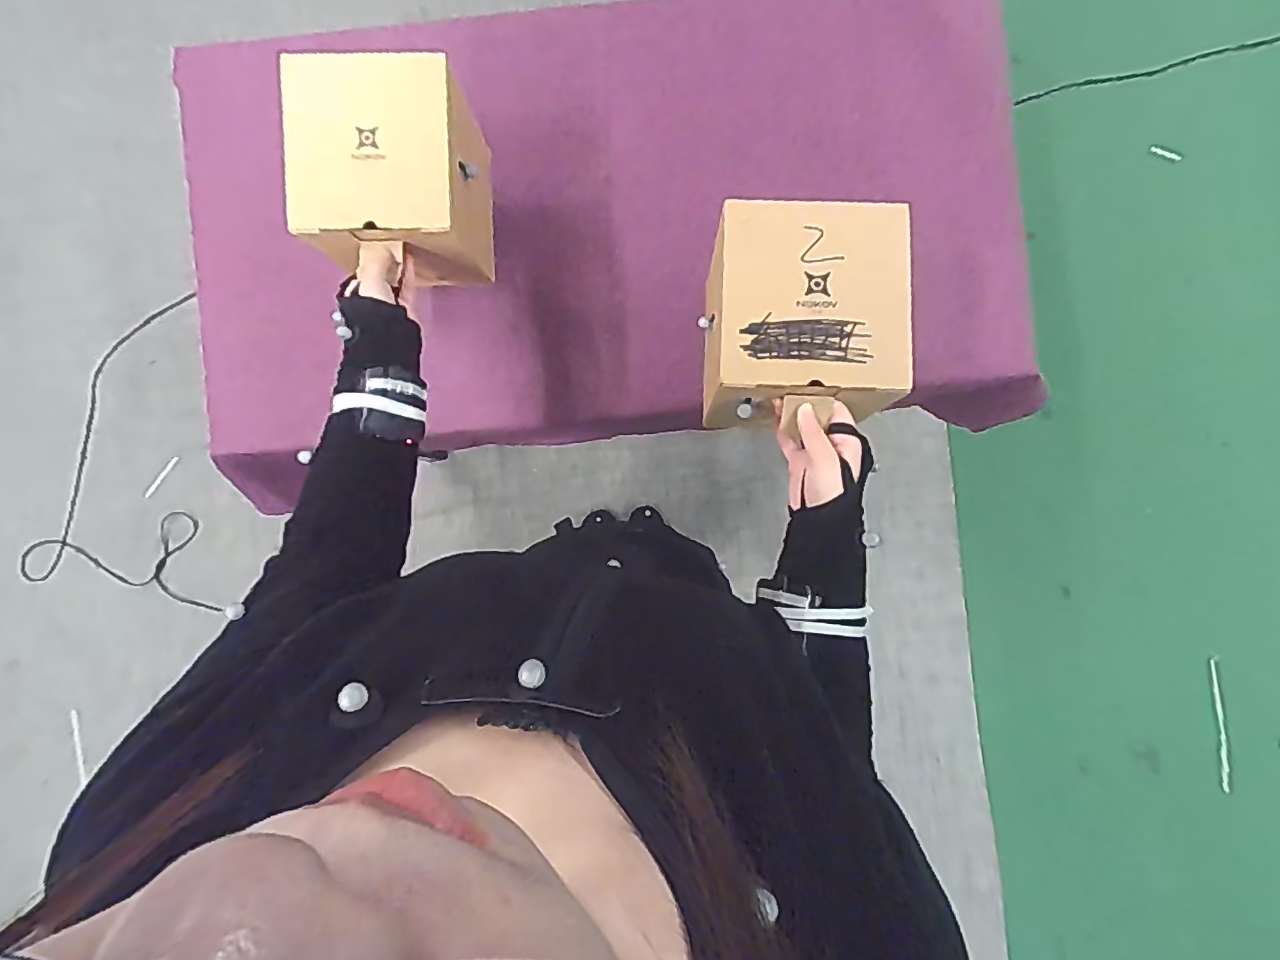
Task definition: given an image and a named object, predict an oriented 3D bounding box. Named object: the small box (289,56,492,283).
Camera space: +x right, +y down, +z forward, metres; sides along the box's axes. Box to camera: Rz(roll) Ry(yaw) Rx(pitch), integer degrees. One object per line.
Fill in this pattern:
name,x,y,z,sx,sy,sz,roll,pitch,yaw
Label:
small box,-0.275,-0.345,0.631,0.168,0.176,0.179,-1,93,-1
